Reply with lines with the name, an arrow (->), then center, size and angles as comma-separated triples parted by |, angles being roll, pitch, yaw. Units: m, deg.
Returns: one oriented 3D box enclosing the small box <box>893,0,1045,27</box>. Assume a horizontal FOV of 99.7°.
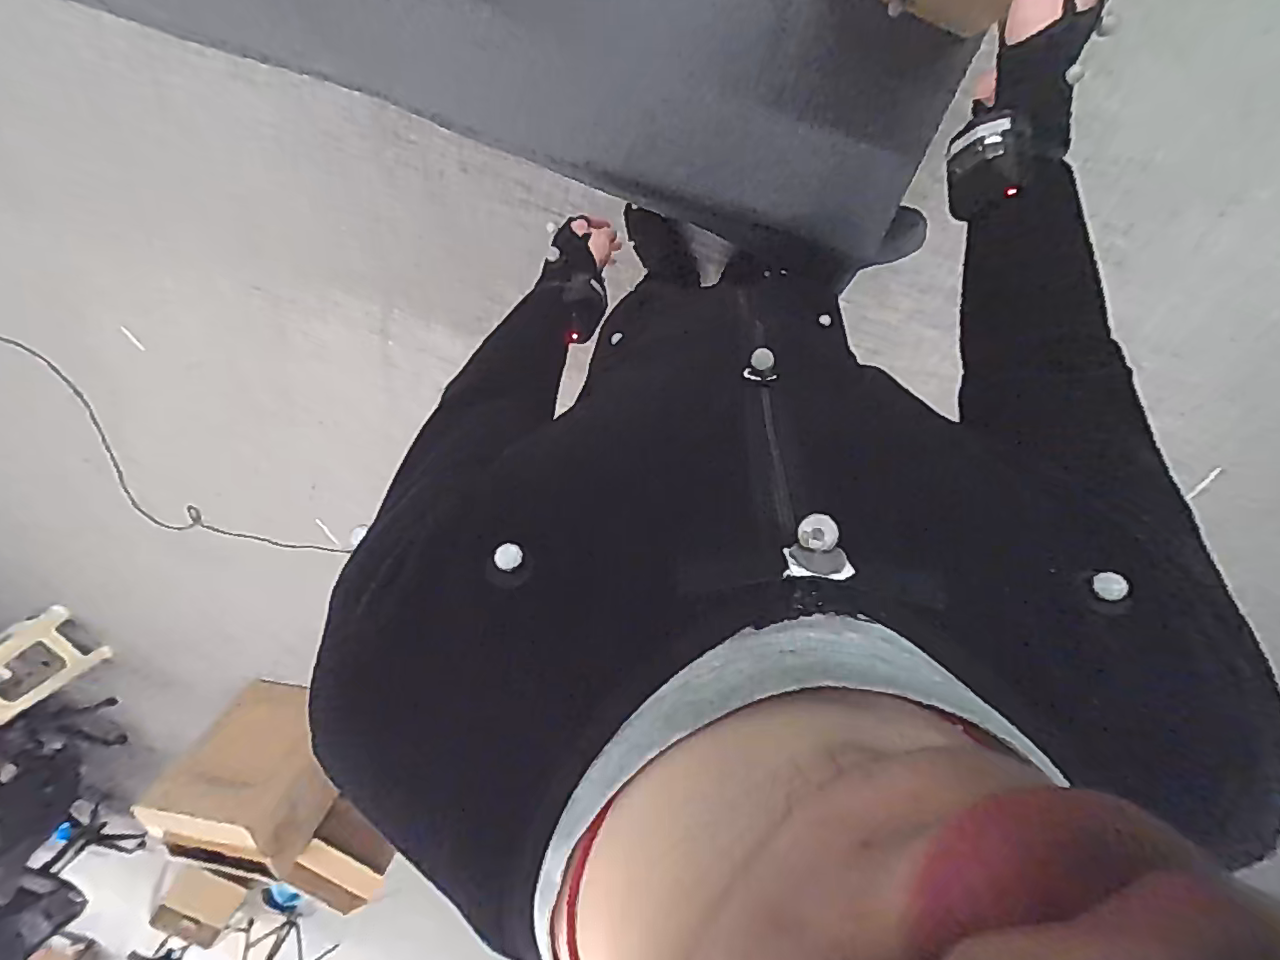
small box -> 0.281, -0.511, 0.443 | 0.179, 0.176, 0.168 | 23, 122, -4
